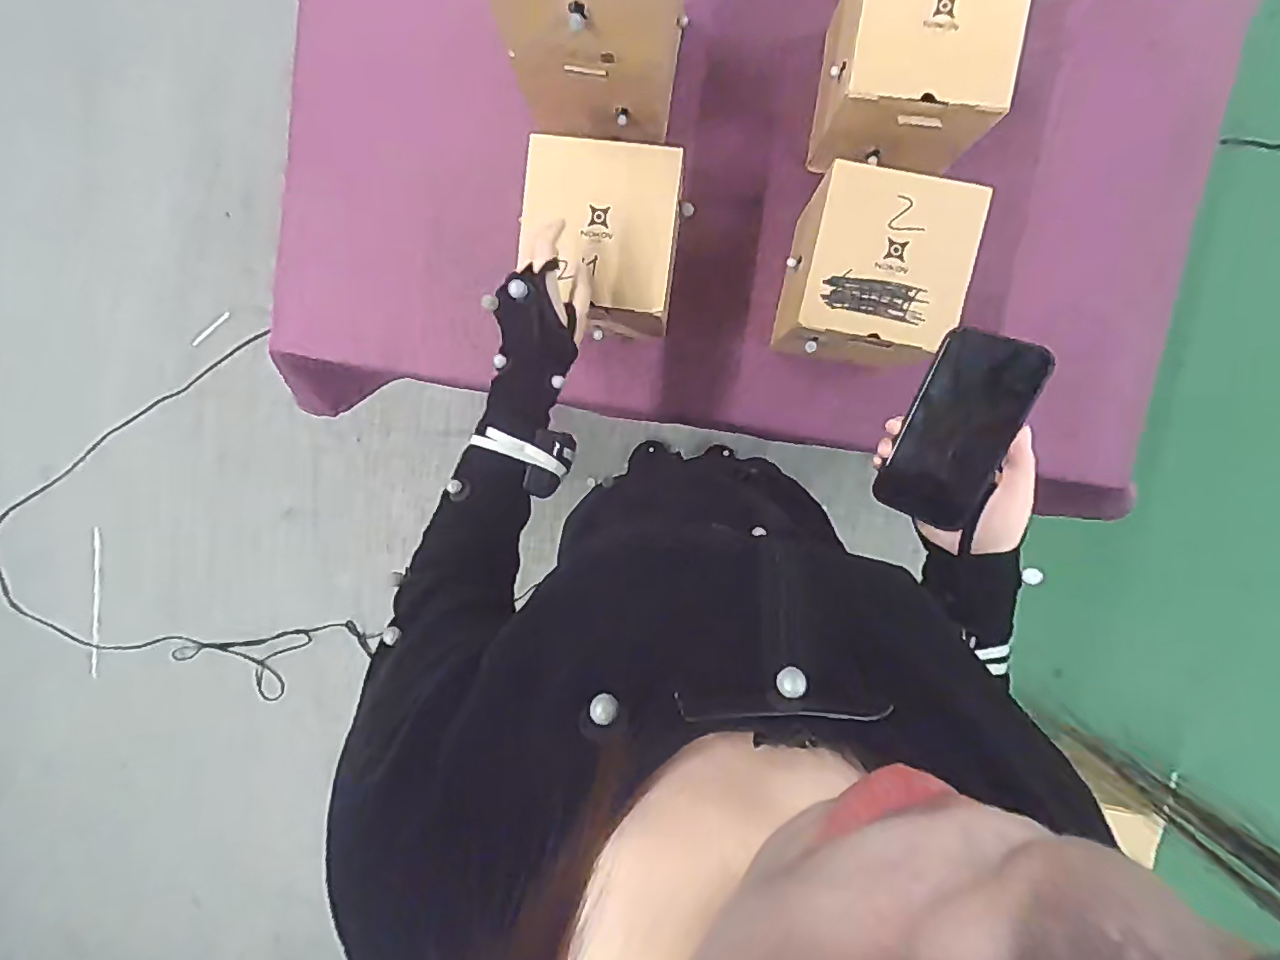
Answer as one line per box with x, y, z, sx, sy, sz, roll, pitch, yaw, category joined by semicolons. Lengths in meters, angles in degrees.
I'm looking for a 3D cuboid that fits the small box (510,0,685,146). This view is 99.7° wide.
-0.039;-0.523;0.634;0.168;0.176;0.179;9;96;1;small box

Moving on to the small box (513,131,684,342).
-0.042;-0.279;0.656;0.168;0.176;0.179;8;94;3;small box

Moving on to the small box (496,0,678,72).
-0.043;-0.503;0.470;0.168;0.176;0.179;10;97;1;small box
